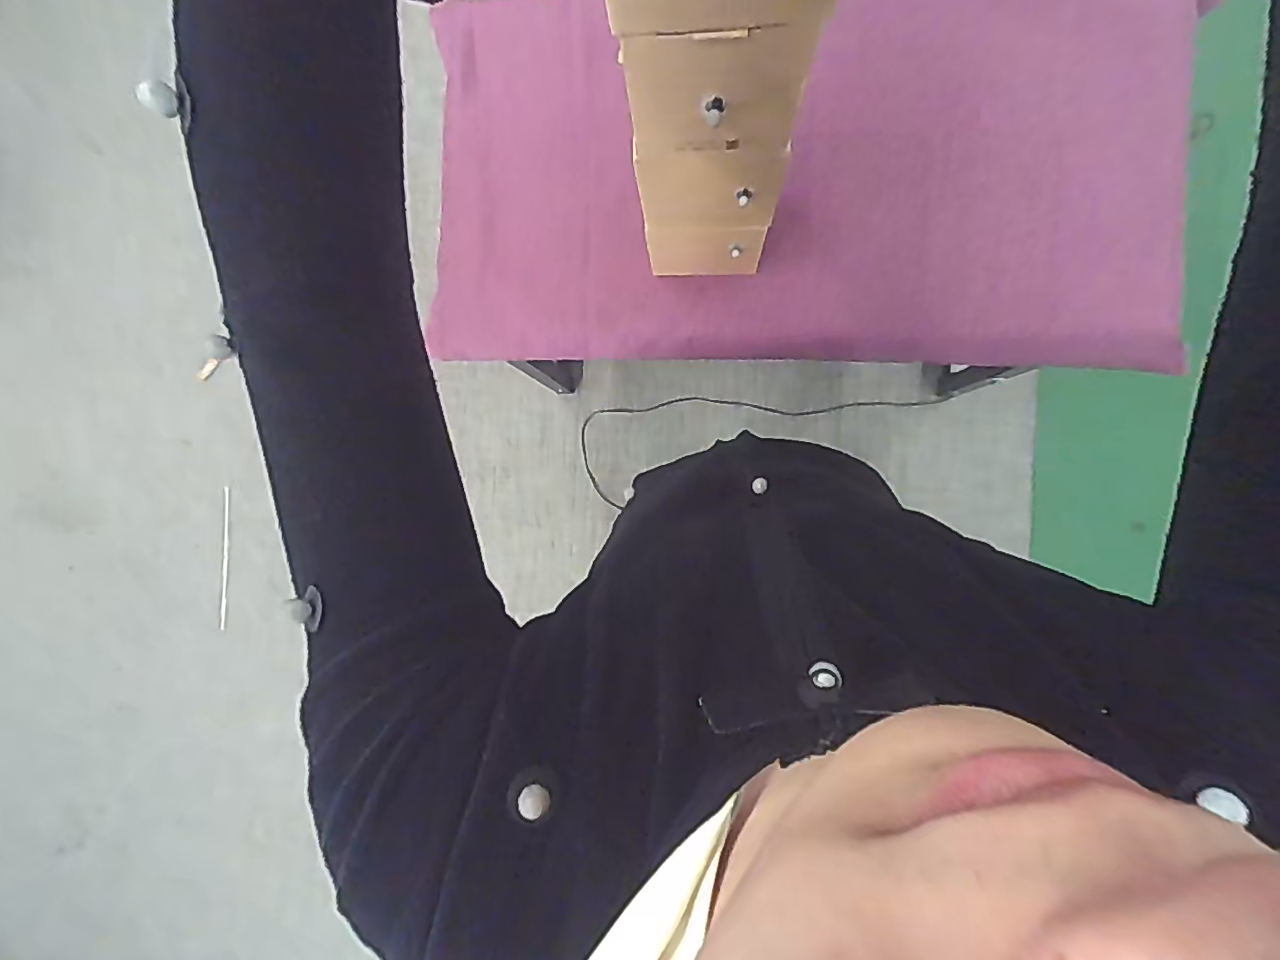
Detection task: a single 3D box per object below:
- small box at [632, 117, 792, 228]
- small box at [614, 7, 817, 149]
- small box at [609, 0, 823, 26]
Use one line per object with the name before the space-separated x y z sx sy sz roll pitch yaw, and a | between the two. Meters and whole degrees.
small box | 0.088 -0.435 0.677 0.179 0.176 0.168 2 89 7
small box | 0.071 -0.444 0.516 0.168 0.176 0.179 1 89 6
small box | 0.055 -0.444 0.352 0.179 0.176 0.168 0 89 5
